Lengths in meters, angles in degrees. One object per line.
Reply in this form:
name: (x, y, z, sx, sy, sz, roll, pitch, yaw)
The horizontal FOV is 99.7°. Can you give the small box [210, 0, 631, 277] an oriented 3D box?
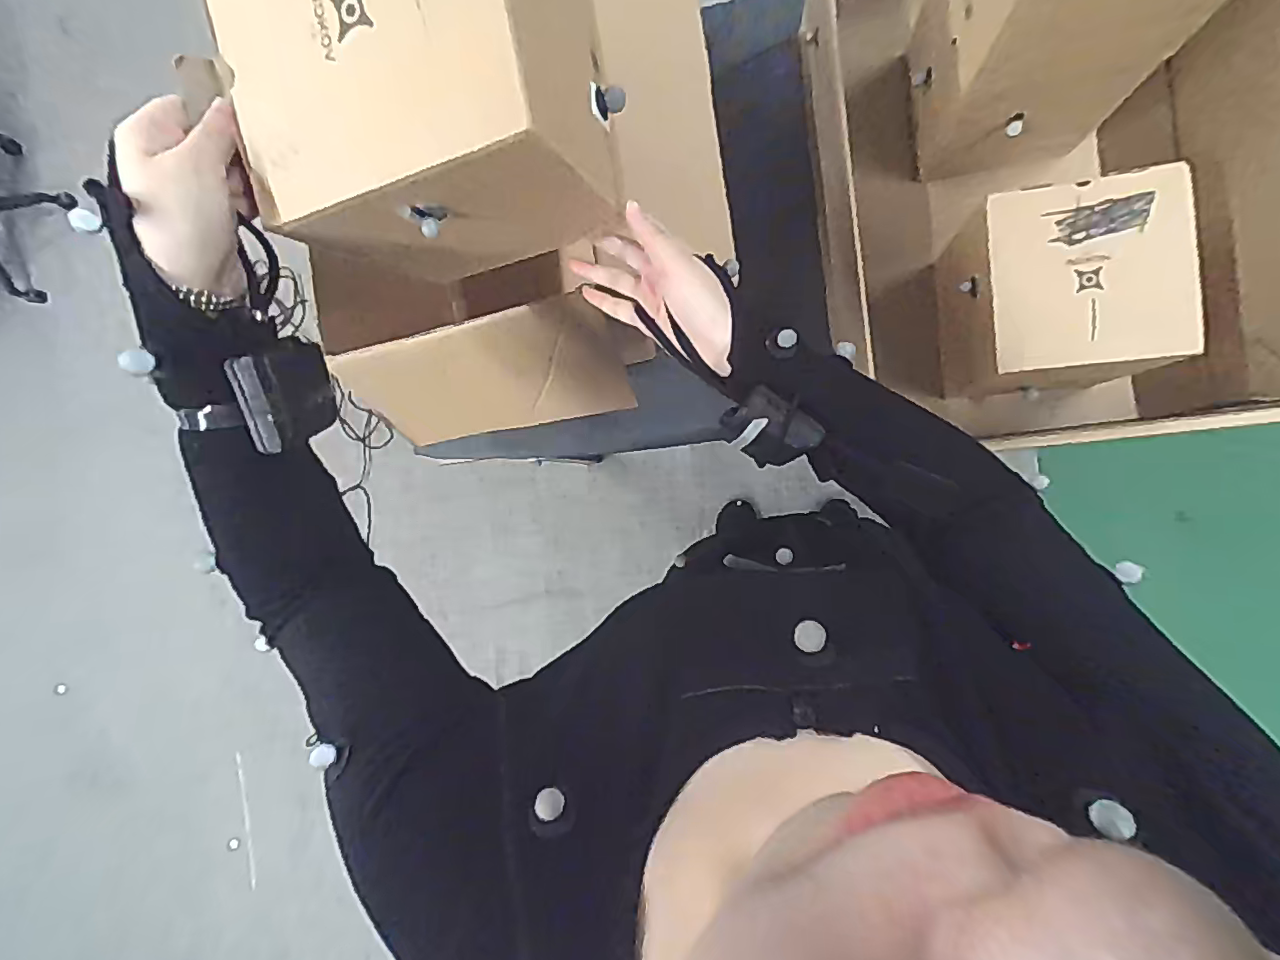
small box: (-0.122, -0.243, 0.349, 0.179, 0.176, 0.168, -8, 99, 17)
